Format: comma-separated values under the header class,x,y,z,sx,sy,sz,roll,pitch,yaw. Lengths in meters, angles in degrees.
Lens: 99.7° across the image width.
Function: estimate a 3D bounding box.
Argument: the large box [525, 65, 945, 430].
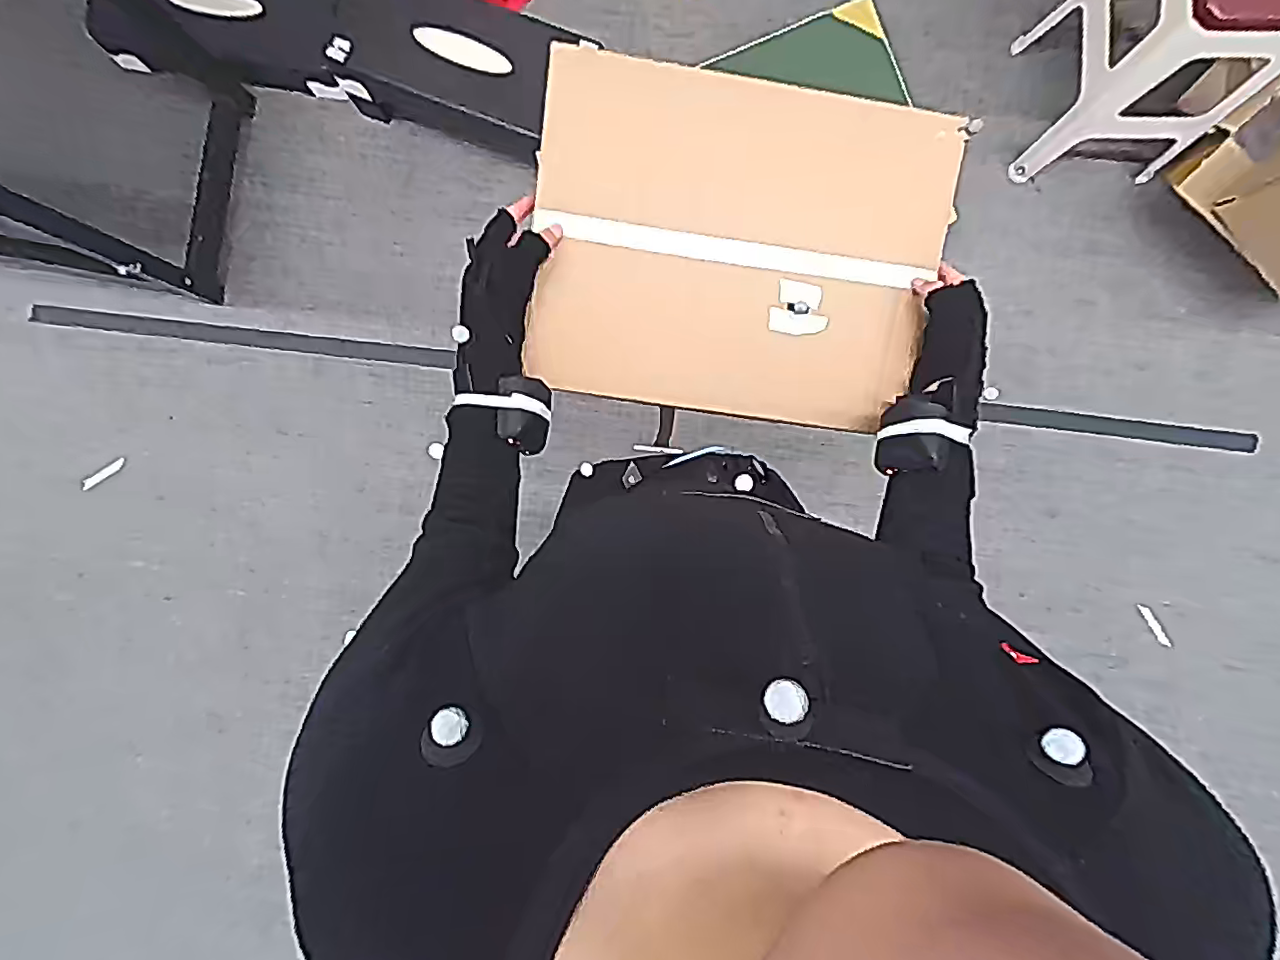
class,x,y,z,sx,sy,sz,roll,pitch,yaw
large box,0.085,-0.248,0.699,0.408,0.320,0.320,8,99,-4
